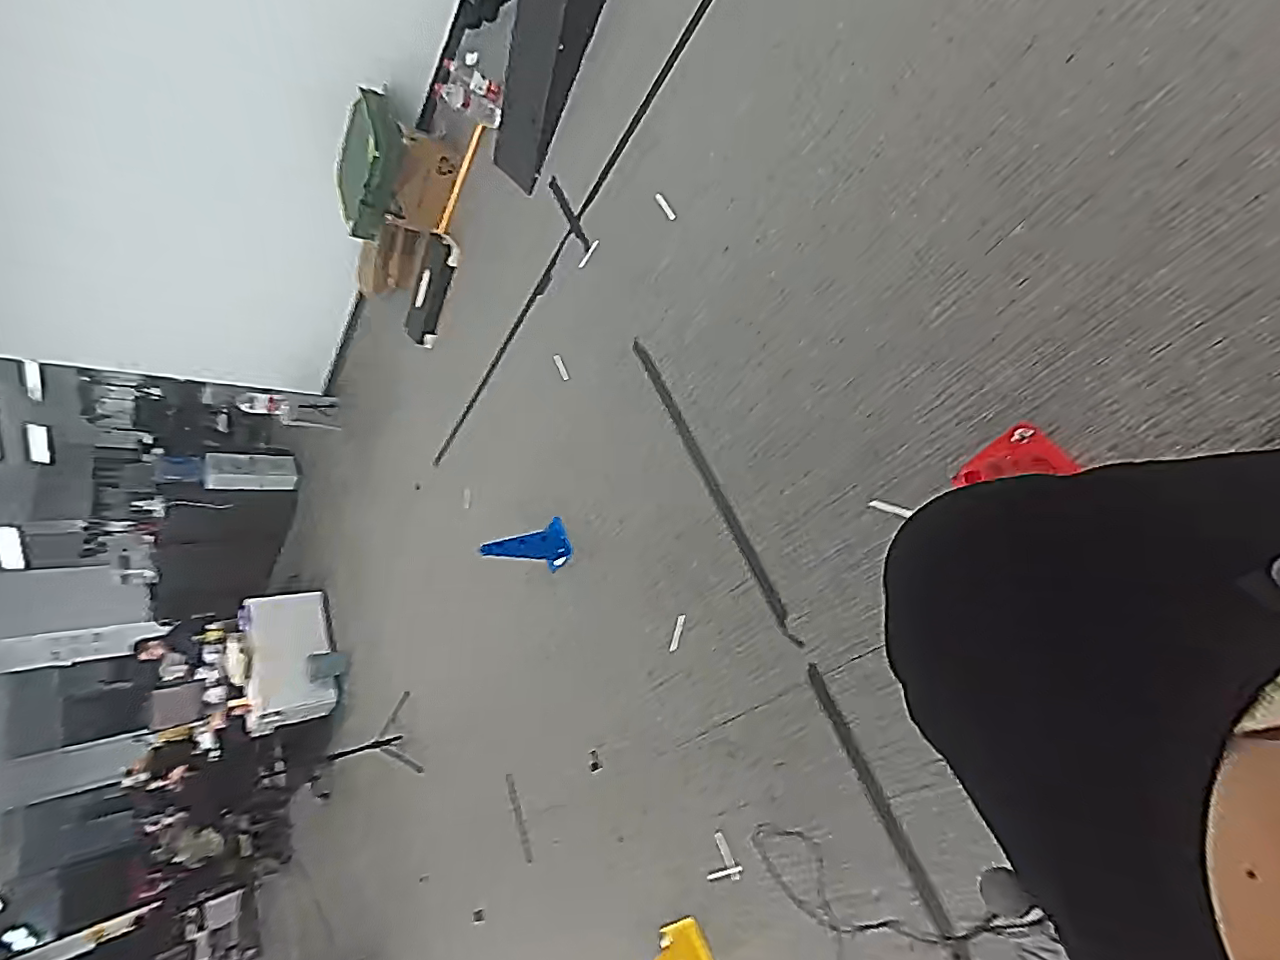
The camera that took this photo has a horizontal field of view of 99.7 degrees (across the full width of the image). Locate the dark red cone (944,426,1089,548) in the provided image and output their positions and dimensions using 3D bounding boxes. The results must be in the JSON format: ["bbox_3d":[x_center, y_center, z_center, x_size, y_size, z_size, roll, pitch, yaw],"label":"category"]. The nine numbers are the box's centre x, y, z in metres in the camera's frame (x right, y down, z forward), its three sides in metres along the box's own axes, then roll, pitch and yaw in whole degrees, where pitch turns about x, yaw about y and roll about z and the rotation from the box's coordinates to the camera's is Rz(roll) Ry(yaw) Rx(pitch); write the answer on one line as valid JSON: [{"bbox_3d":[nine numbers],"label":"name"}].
[{"bbox_3d":[0.670,0.014,1.035,0.201,0.394,0.202,-53,54,32],"label":"dark red cone"}]

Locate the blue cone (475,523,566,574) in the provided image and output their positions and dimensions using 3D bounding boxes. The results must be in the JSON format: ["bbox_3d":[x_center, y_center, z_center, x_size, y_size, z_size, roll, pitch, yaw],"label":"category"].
[{"bbox_3d":[-0.516,0.303,2.303,0.192,0.380,0.193,-45,58,37],"label":"blue cone"}]
